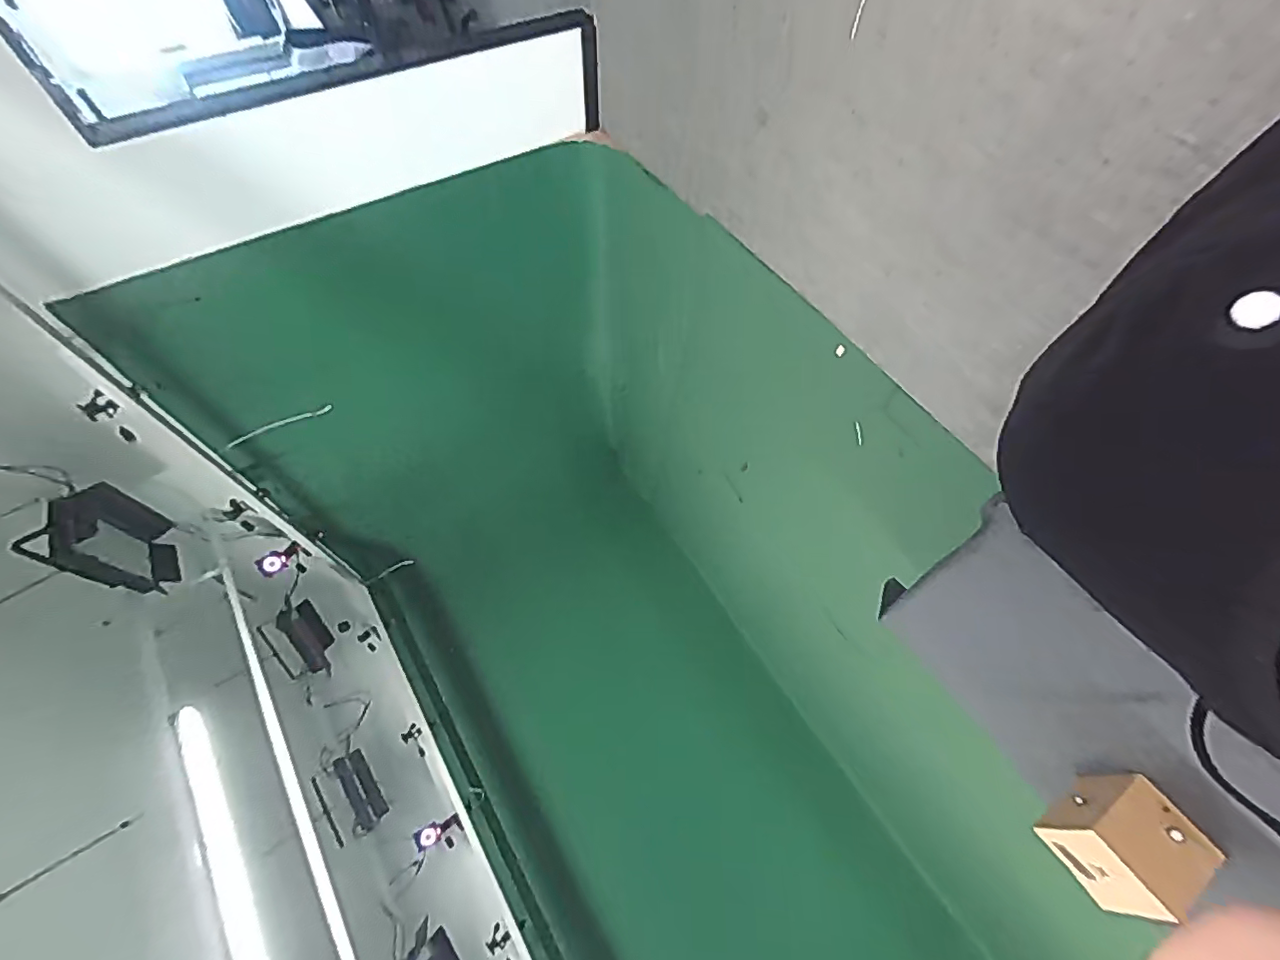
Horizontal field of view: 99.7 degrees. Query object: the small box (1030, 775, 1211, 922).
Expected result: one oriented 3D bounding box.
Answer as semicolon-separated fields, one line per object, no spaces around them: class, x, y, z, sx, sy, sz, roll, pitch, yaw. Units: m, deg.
small box;0.934;0.707;1.057;0.168;0.176;0.179;51;158;24
